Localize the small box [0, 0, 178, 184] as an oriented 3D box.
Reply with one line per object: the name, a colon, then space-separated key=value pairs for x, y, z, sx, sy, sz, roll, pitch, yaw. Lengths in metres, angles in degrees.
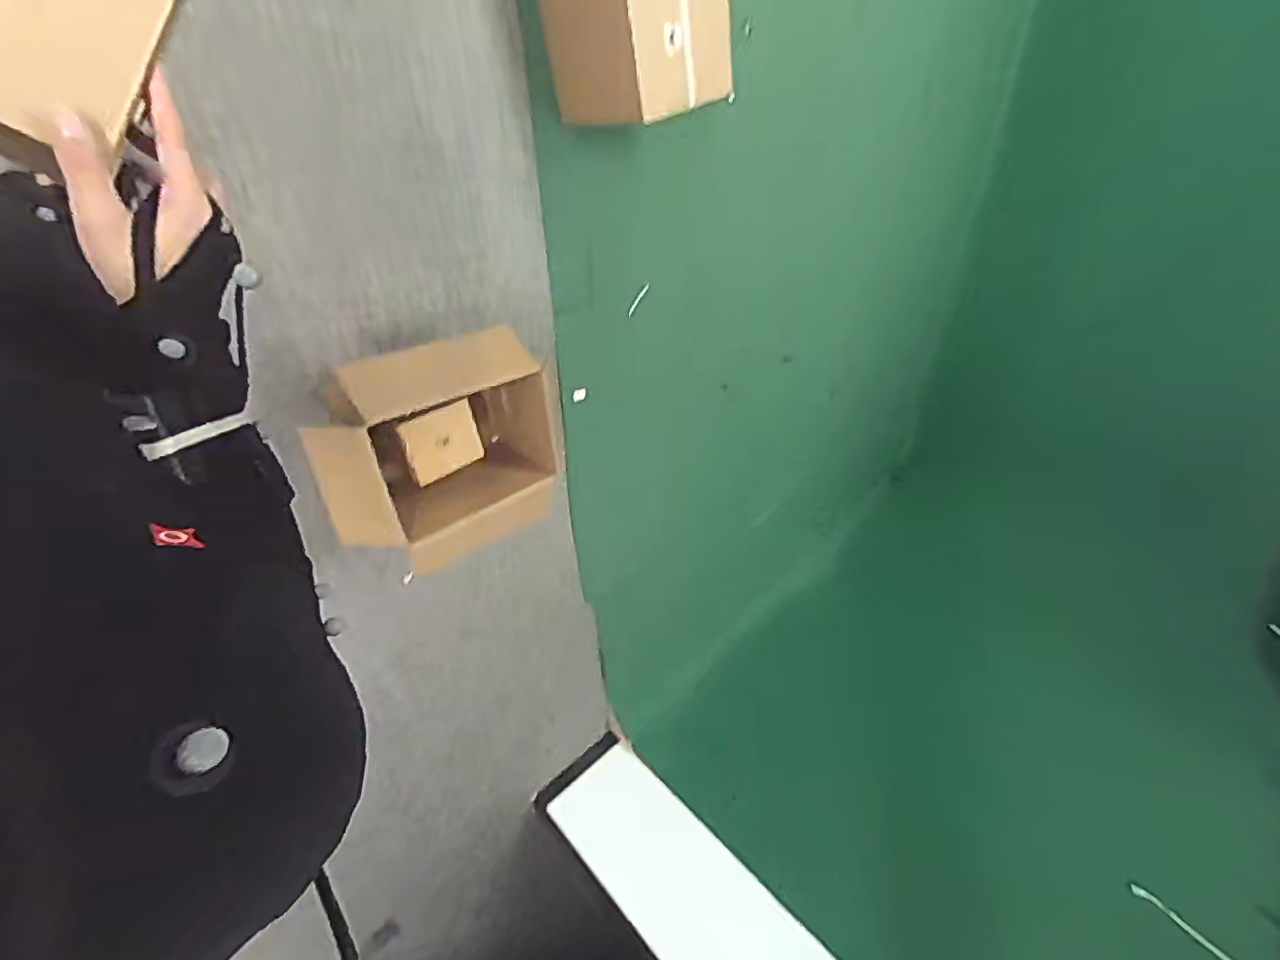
small box: x=-0.376 y=-0.288 z=0.288 sx=0.179 sy=0.176 sz=0.168 roll=20 pitch=90 yaw=-48
